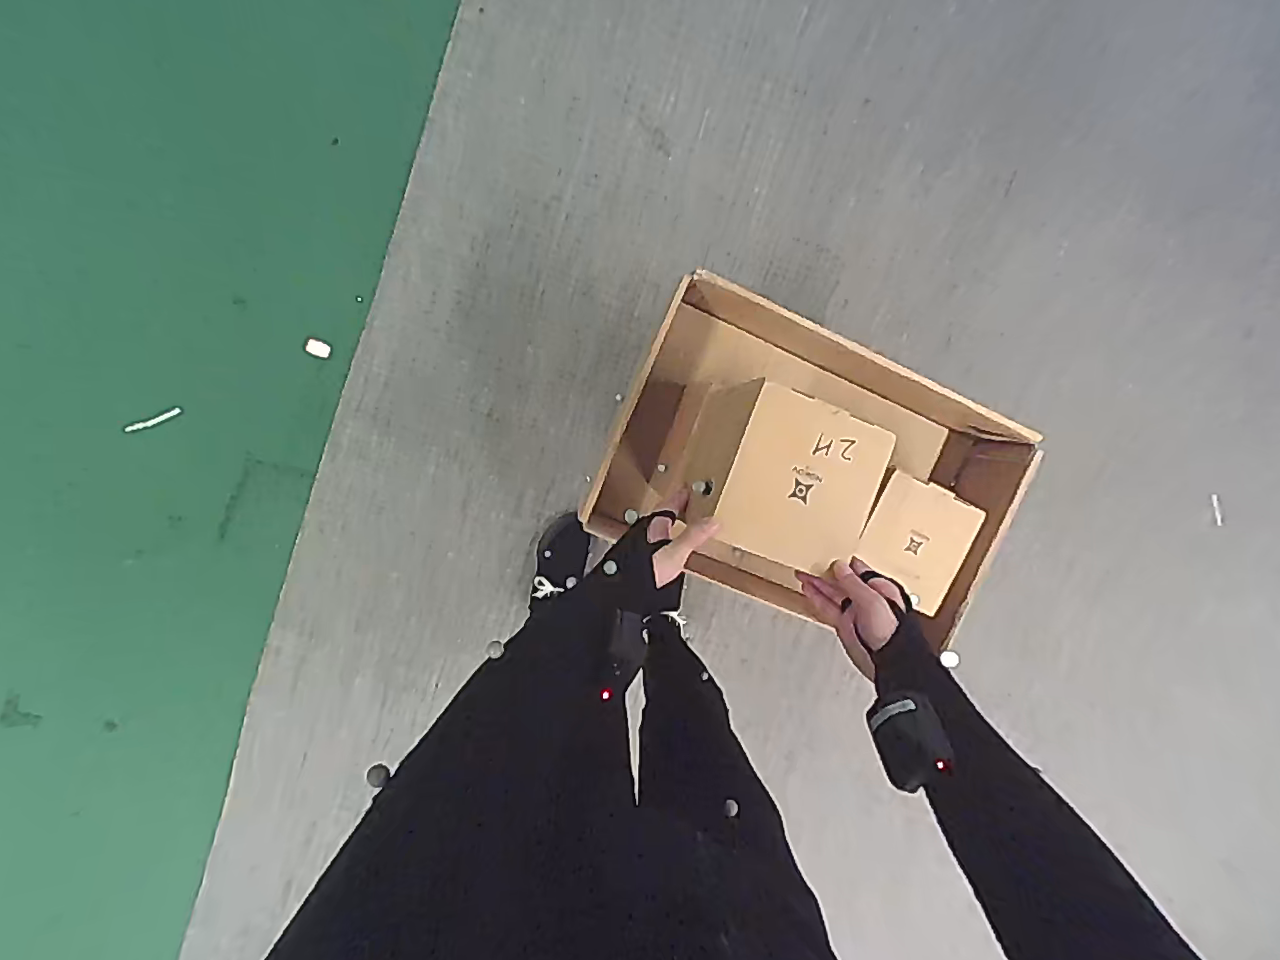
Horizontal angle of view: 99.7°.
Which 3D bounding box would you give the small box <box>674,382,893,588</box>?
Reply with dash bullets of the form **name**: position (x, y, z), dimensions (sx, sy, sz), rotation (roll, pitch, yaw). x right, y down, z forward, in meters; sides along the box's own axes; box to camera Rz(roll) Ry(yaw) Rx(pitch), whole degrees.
- **small box**: position (0.153, 0.003, 0.641), dimensions (0.168, 0.176, 0.179), rotation (21, 90, -12)
